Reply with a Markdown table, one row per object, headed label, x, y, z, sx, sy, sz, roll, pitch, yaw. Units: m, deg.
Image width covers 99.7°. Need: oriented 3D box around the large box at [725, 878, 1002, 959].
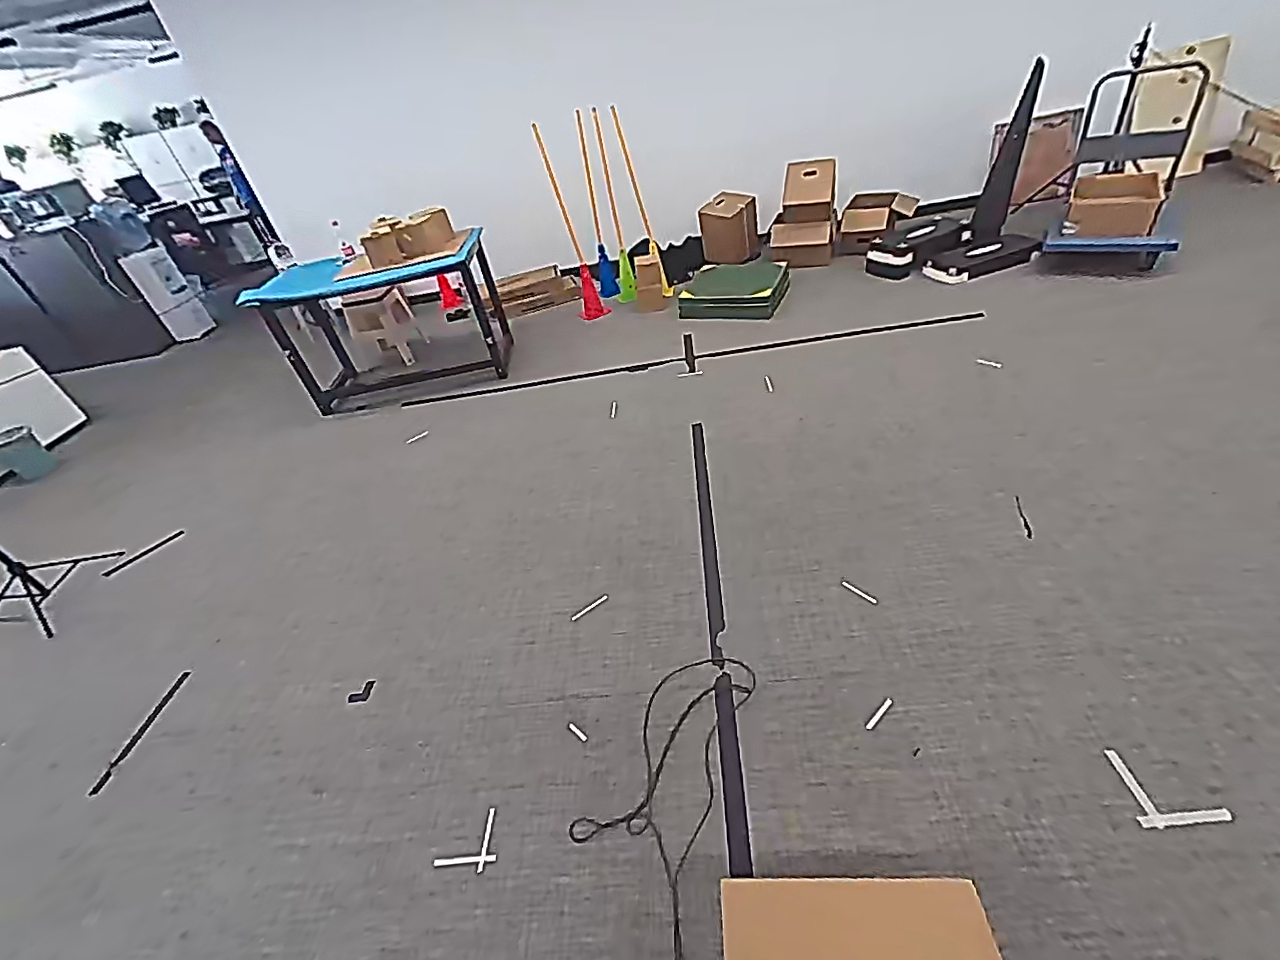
| label | x | y | z | sx | sy | sz | roll | pitch | yaw |
| --- | --- | --- | --- | --- | --- | --- | --- | --- | --- |
| large box | 0.358 | 0.875 | 0.866 | 0.408 | 0.320 | 0.320 | -6 | 38 | 8 |
